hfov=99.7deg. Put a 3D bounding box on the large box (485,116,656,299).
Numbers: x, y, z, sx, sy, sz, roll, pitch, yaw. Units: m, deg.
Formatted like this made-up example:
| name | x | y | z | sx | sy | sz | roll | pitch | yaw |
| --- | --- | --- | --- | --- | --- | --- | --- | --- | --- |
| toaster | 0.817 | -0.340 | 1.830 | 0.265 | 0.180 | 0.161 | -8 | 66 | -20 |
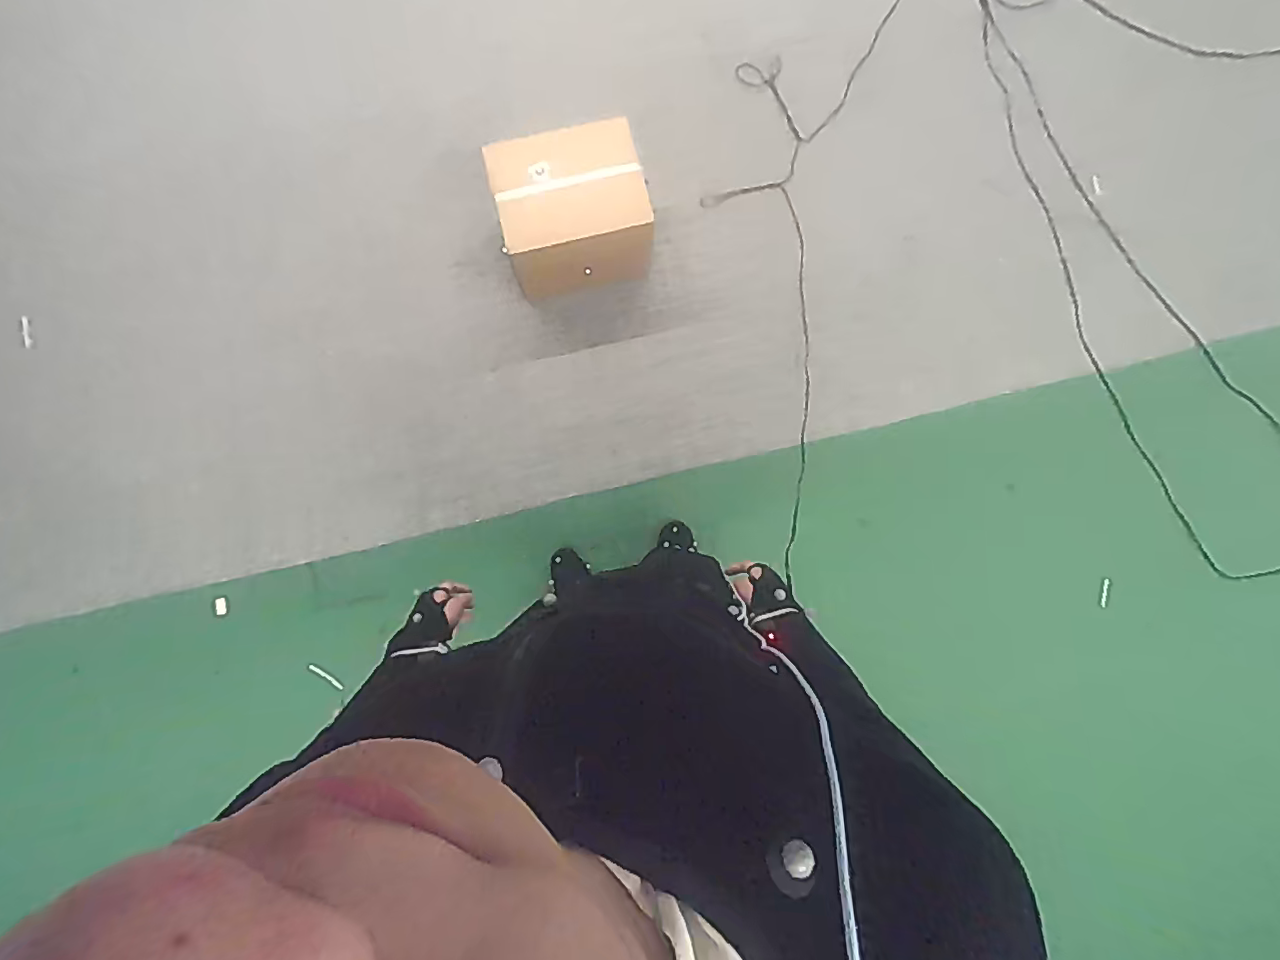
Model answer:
| name | x | y | z | sx | sy | sz | roll | pitch | yaw |
| --- | --- | --- | --- | --- | --- | --- | --- | --- | --- |
| large box | -0.189 | -0.781 | 1.598 | 0.408 | 0.320 | 0.320 | -15 | 85 | -2 |
